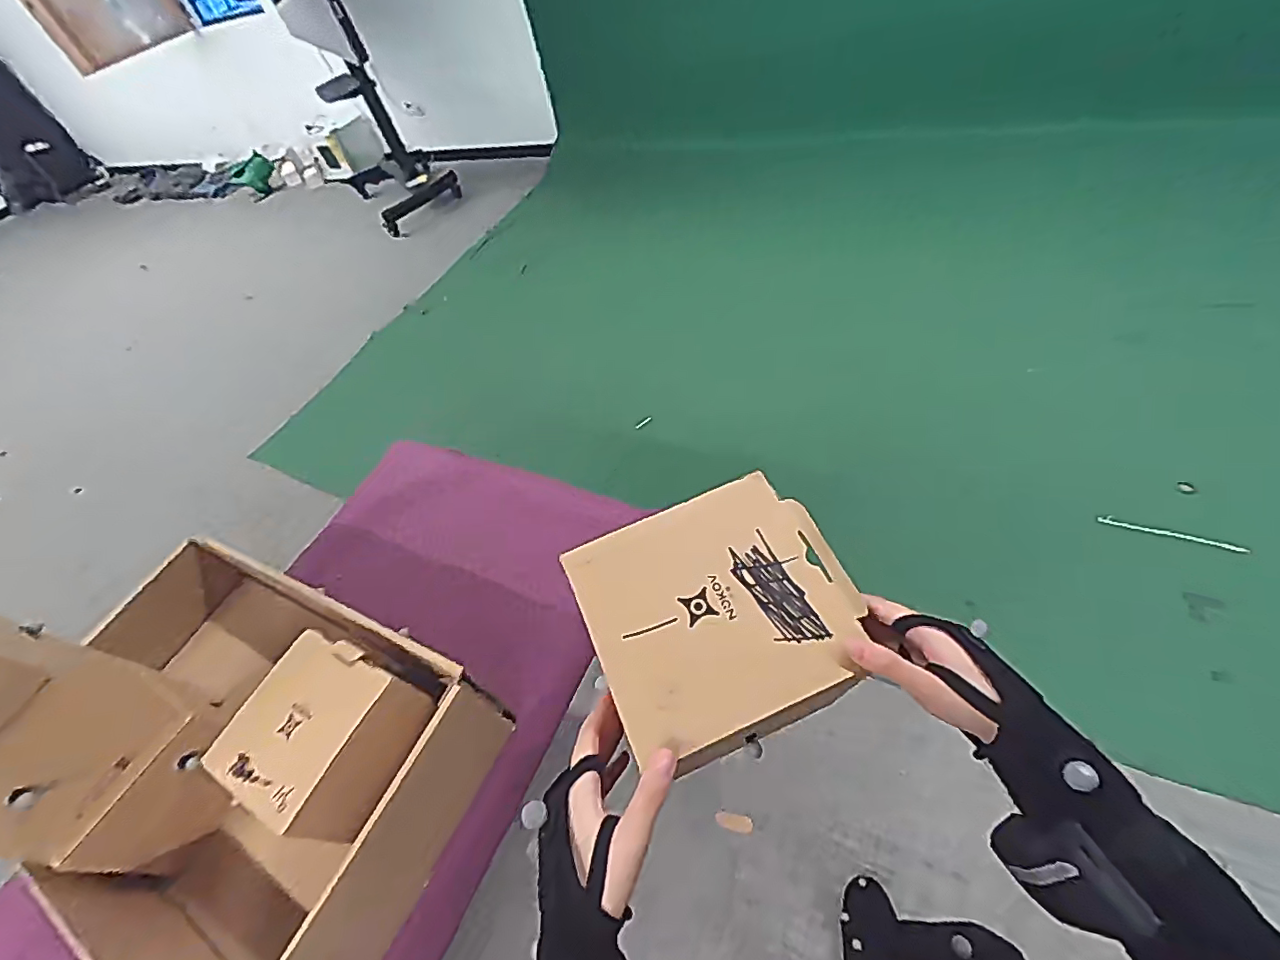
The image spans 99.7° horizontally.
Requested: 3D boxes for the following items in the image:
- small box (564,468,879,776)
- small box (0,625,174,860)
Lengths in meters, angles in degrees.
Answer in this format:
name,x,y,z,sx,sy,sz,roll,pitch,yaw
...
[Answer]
name,x,y,z,sx,sy,sz,roll,pitch,yaw
small box,0.057,0.124,0.451,0.179,0.176,0.168,-22,58,-7
small box,-0.675,0.282,0.587,0.179,0.176,0.168,17,58,25
